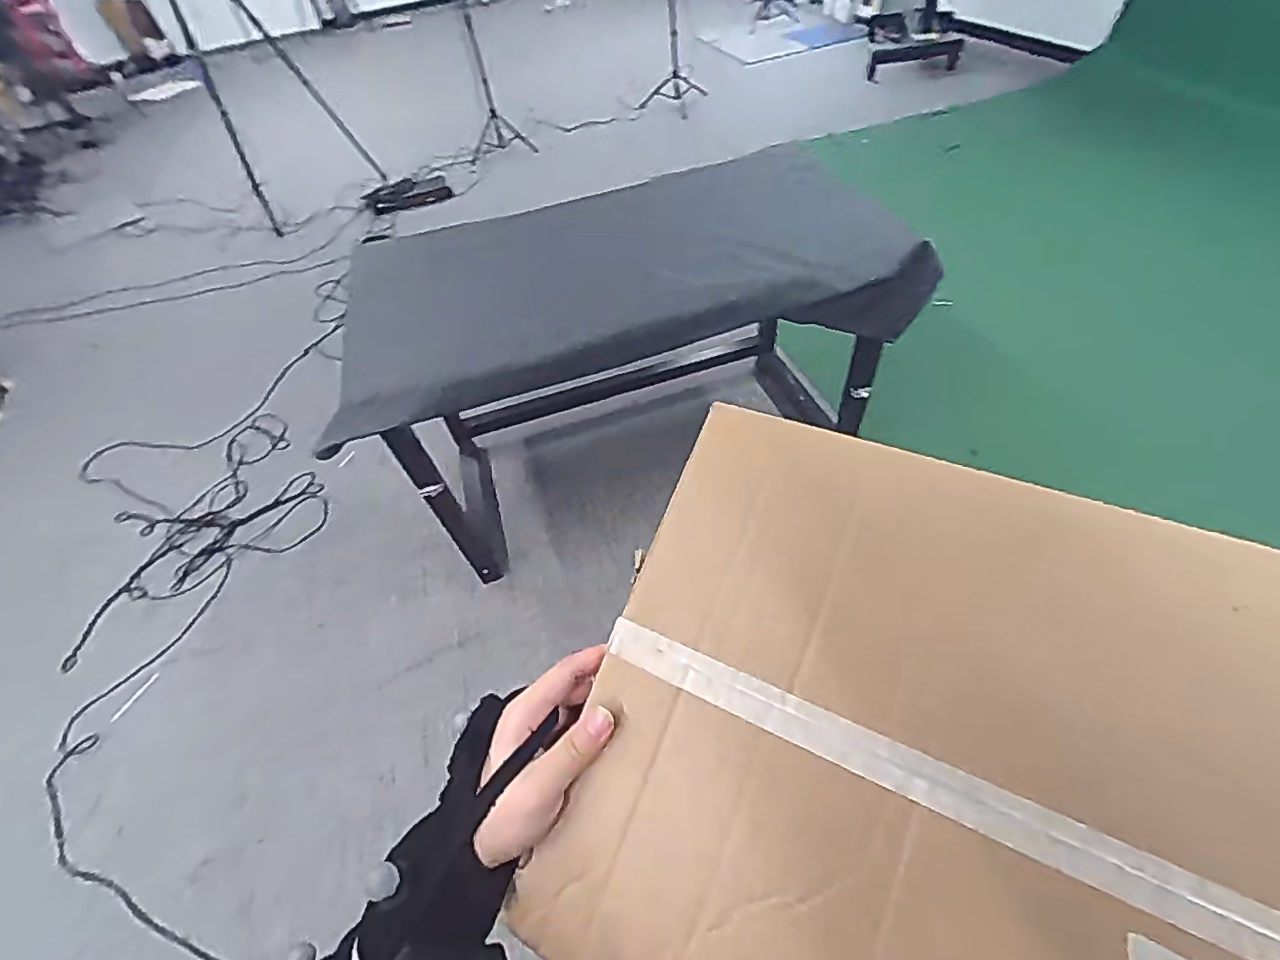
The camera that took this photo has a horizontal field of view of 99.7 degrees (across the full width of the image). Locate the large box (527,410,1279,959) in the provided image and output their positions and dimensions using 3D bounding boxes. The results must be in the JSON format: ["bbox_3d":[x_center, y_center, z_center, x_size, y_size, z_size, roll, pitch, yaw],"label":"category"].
[{"bbox_3d":[0.204,0.192,0.394,0.408,0.320,0.320,18,76,20],"label":"large box"}]
